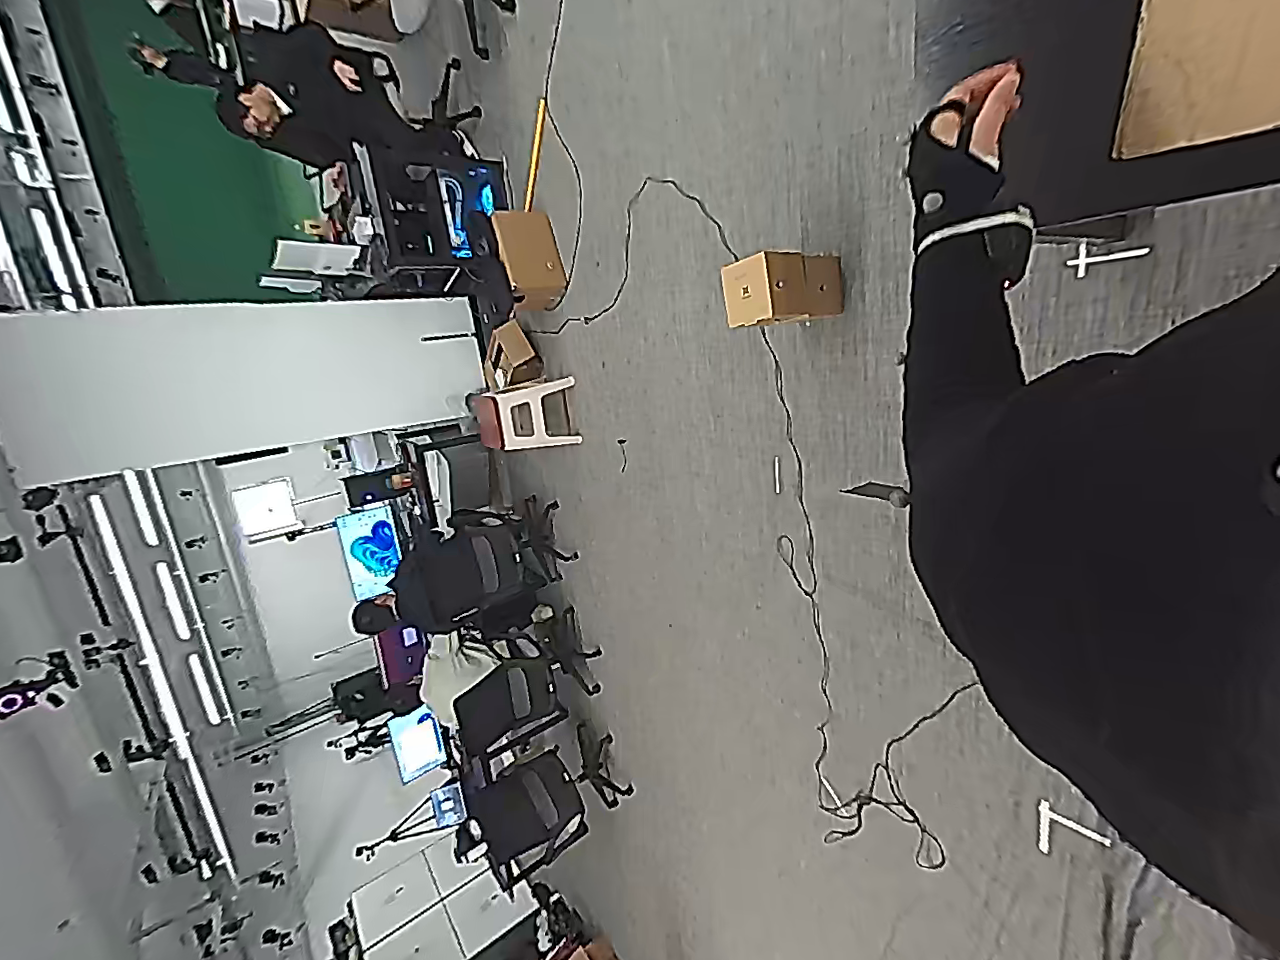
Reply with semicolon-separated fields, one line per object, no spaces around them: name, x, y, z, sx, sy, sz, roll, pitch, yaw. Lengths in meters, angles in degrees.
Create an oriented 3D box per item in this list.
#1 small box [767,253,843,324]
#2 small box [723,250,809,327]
small box;0.497;-0.581;1.649;0.168;0.176;0.179;7;109;54
small box;0.366;-0.550;1.556;0.168;0.176;0.179;2;104;54
